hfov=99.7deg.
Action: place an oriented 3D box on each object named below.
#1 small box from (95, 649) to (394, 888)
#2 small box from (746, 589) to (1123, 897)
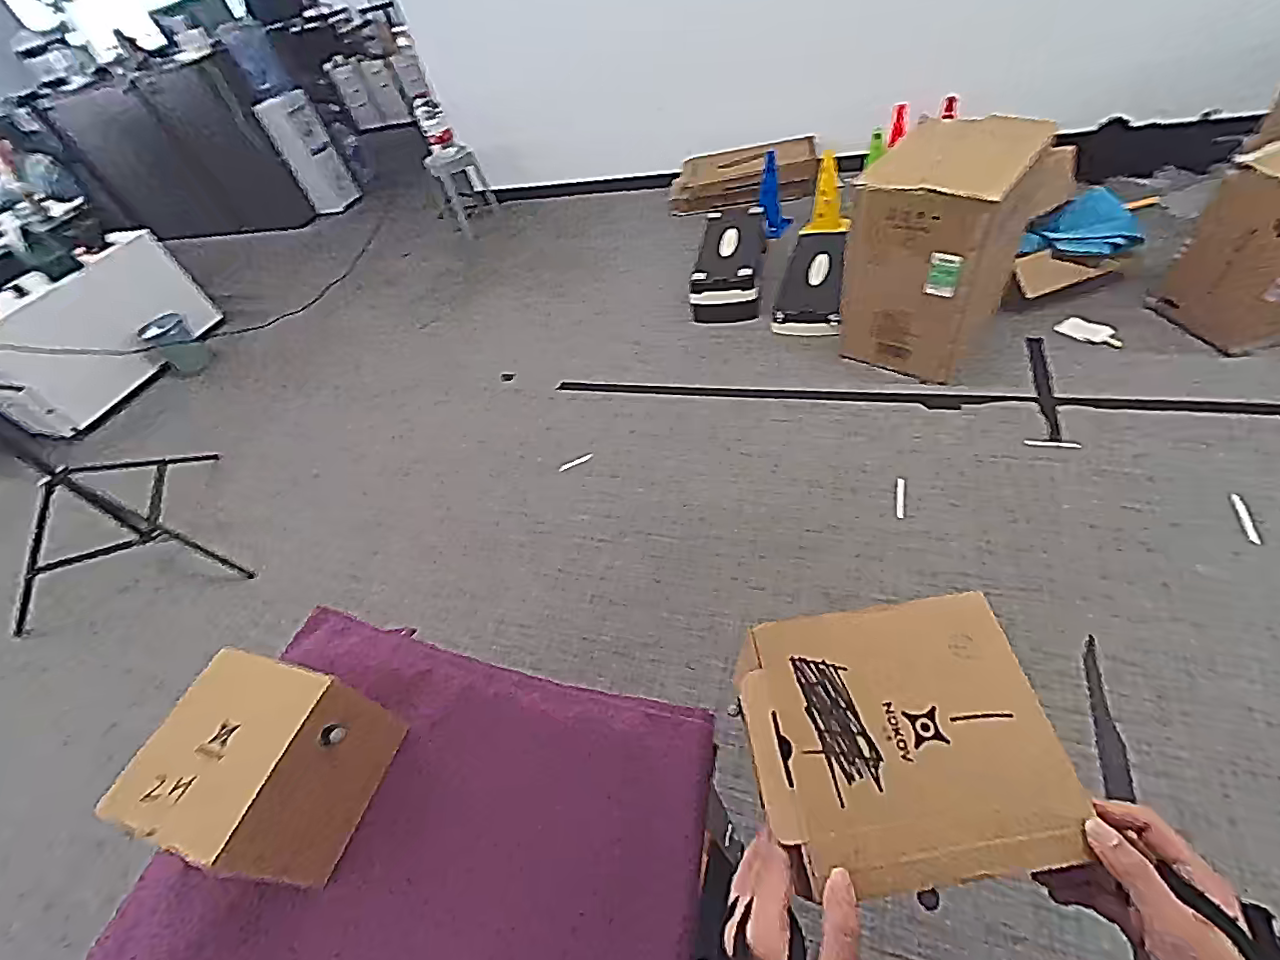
[{"bbox_3d":[-0.408,0.319,0.600,0.168,0.176,0.179,6,51,19],"label":"small box"},{"bbox_3d":[0.184,0.202,0.413,0.179,0.176,0.168,-8,56,-1],"label":"small box"}]
